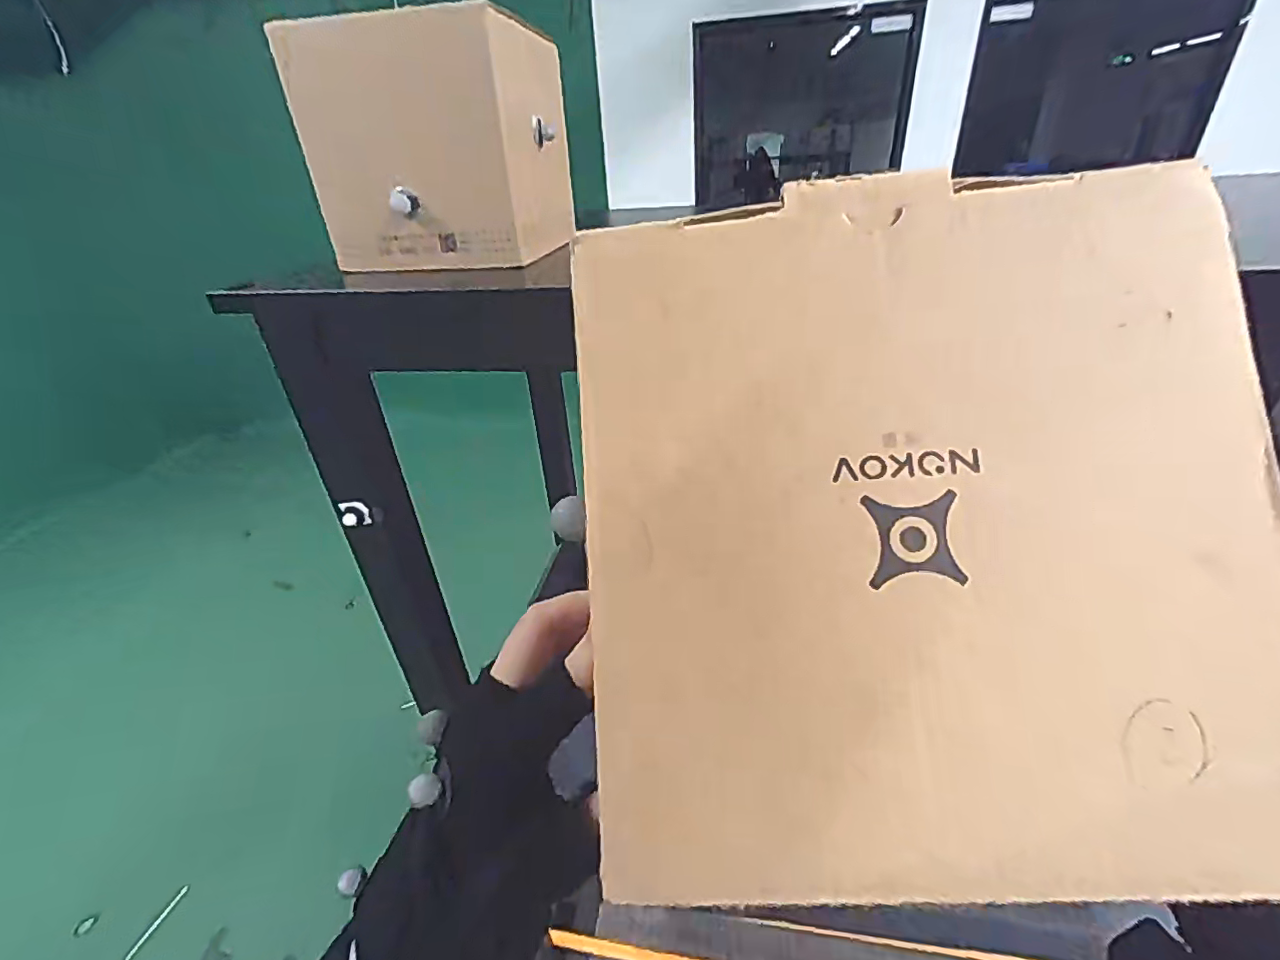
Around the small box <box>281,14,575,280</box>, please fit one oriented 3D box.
[{"bbox_3d":[-0.159,-0.283,0.479,0.168,0.176,0.179,2,32,9],"label":"small box"}]

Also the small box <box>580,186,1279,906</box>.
[{"bbox_3d":[0.076,0.023,0.217,0.168,0.179,0.176,-4,-7,5],"label":"small box"}]
